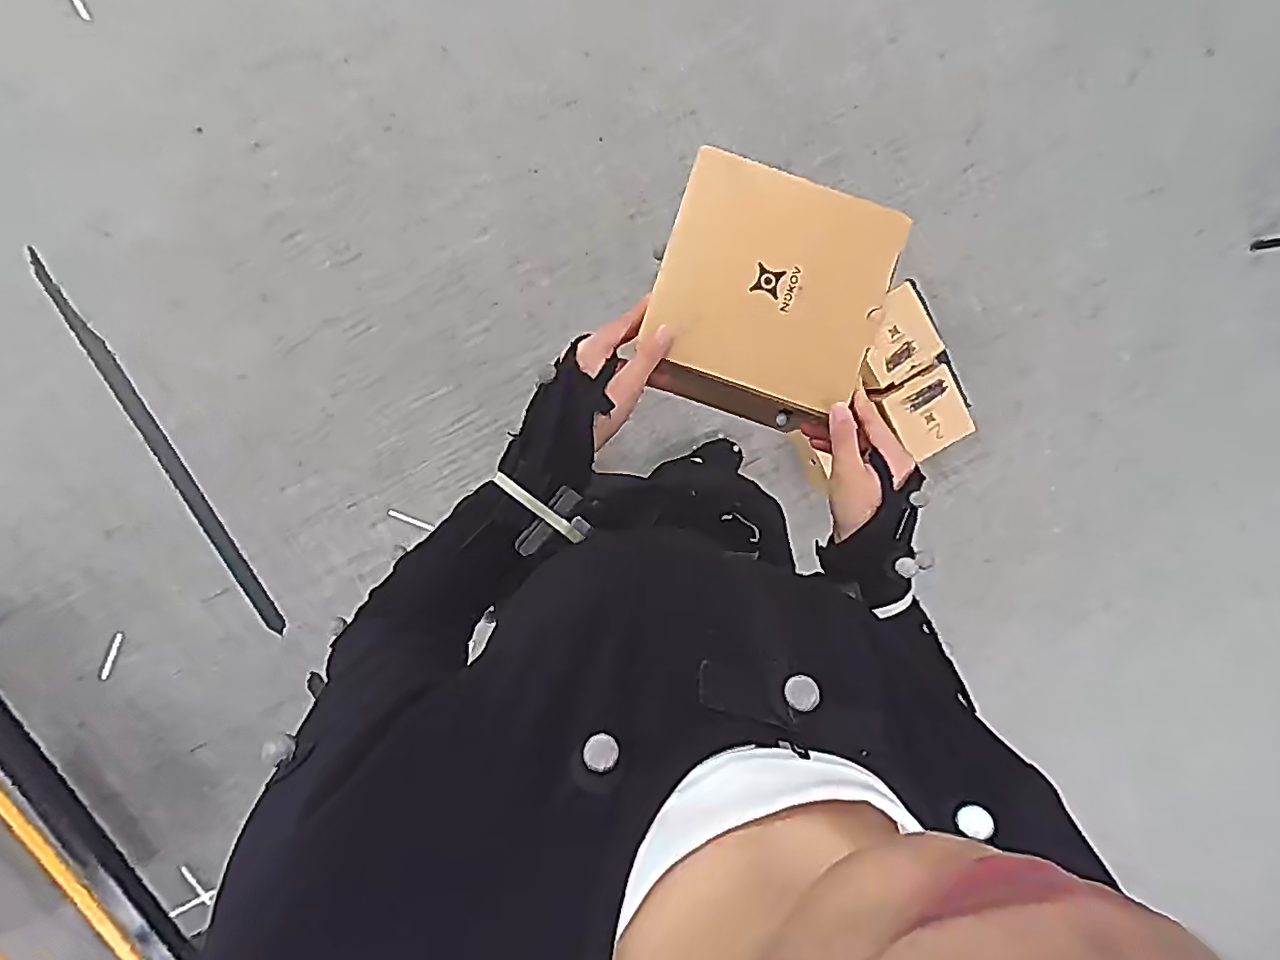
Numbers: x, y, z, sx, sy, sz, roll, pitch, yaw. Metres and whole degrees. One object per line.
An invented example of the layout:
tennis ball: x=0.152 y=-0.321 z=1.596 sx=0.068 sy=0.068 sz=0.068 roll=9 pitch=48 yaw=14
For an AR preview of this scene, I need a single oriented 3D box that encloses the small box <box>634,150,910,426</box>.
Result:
small box: x=0.100 y=-0.152 z=0.496 sx=0.179 sy=0.176 sz=0.168 roll=18 pitch=92 yaw=-2
